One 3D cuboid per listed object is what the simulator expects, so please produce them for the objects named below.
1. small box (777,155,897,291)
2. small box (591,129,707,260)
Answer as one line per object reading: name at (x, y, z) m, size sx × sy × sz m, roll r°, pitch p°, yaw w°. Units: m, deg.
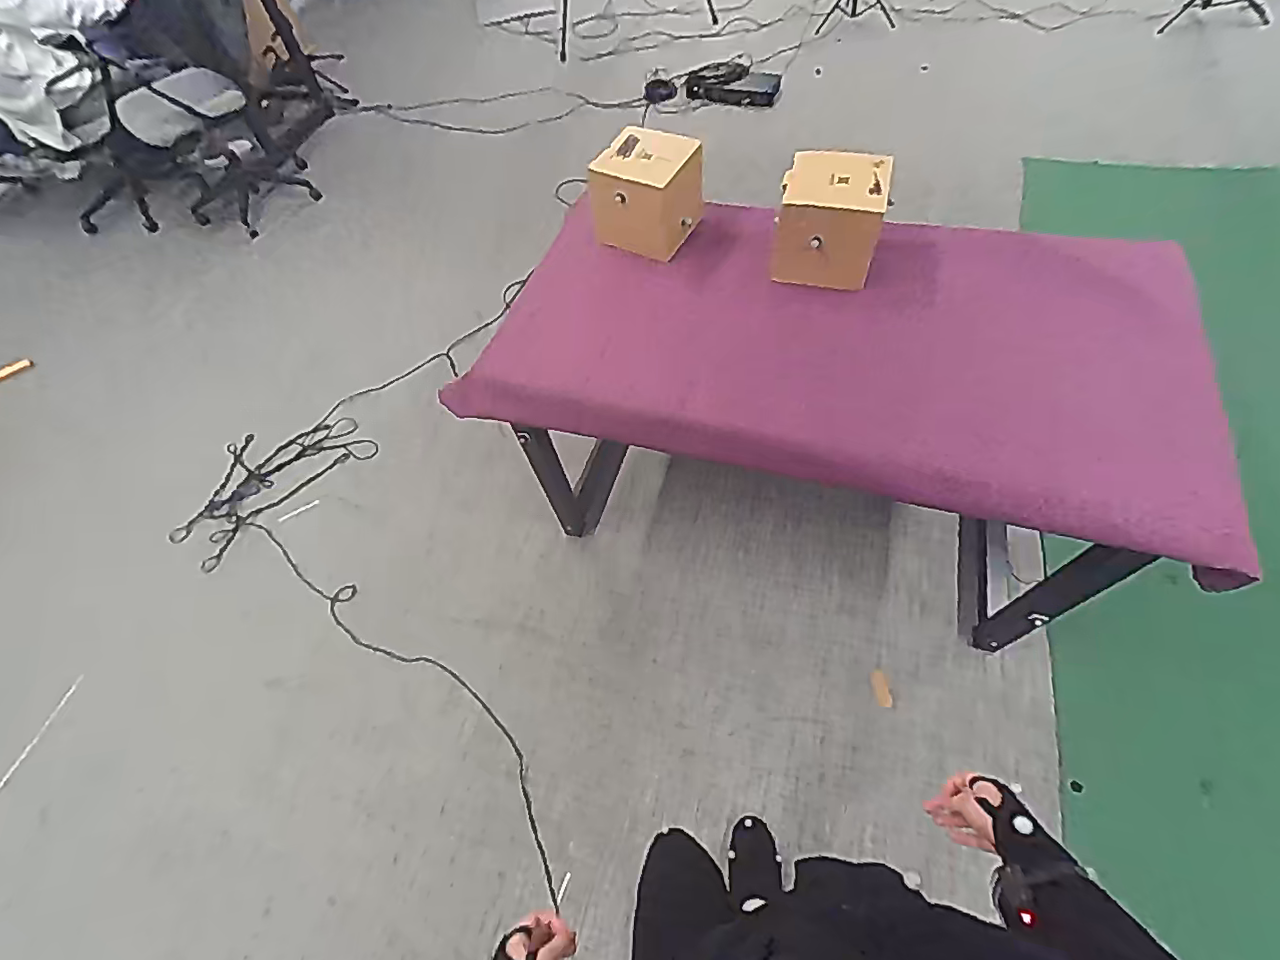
small box at (0.364, -0.481, 1.021) m, size 0.179 × 0.176 × 0.168 m, roll 12°, pitch 63°, yaw 15°
small box at (0.024, -0.589, 1.123) m, size 0.179 × 0.176 × 0.168 m, roll 25°, pitch 66°, yaw 19°
